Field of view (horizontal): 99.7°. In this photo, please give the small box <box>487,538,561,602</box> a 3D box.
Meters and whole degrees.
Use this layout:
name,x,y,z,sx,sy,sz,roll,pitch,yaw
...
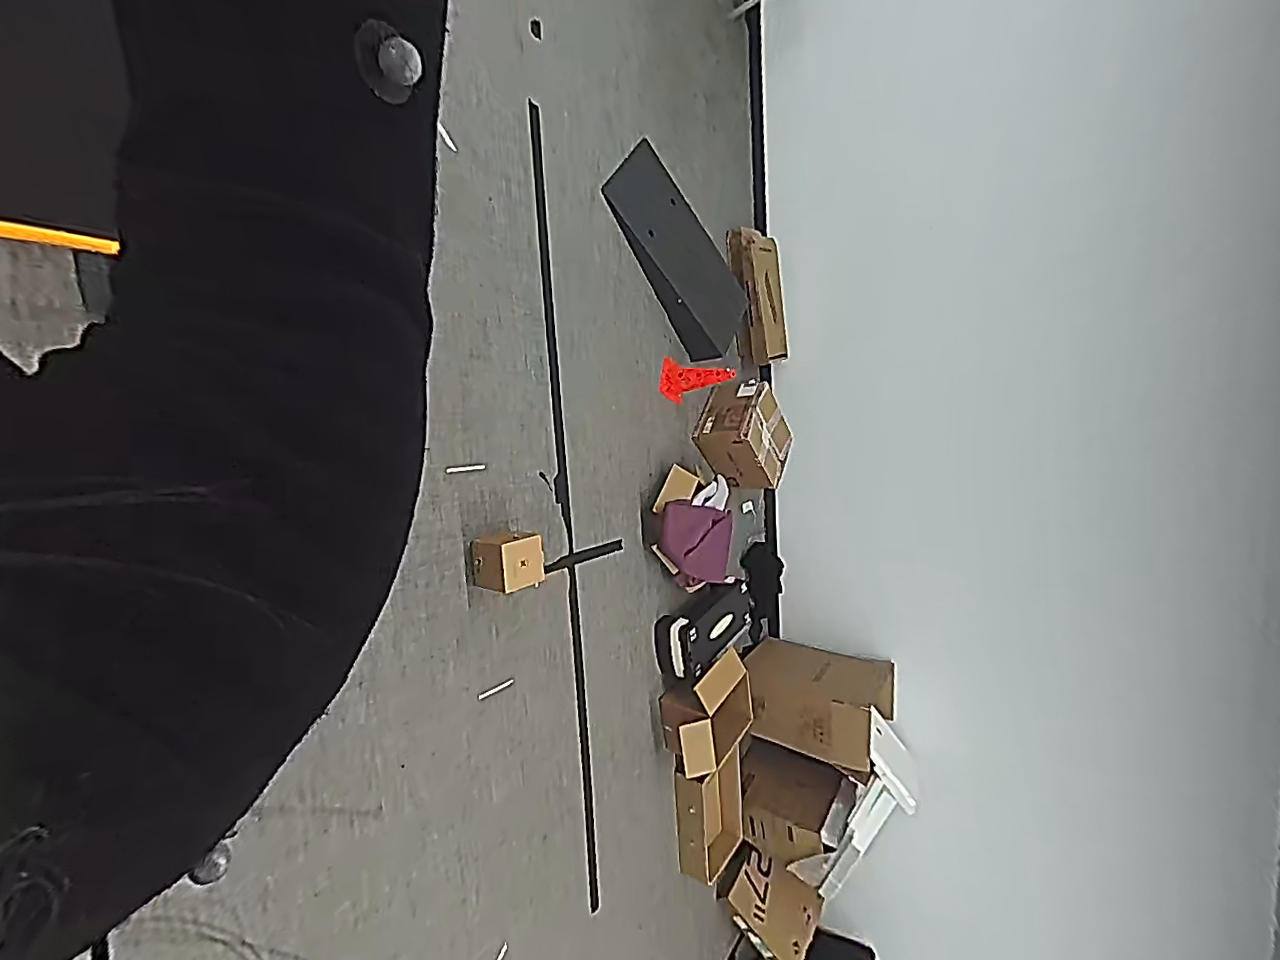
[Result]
name,x,y,z,sx,sy,sz,roll,pitch,yaw
small box,-0.393,0.297,1.835,0.179,0.176,0.168,-13,101,-51
